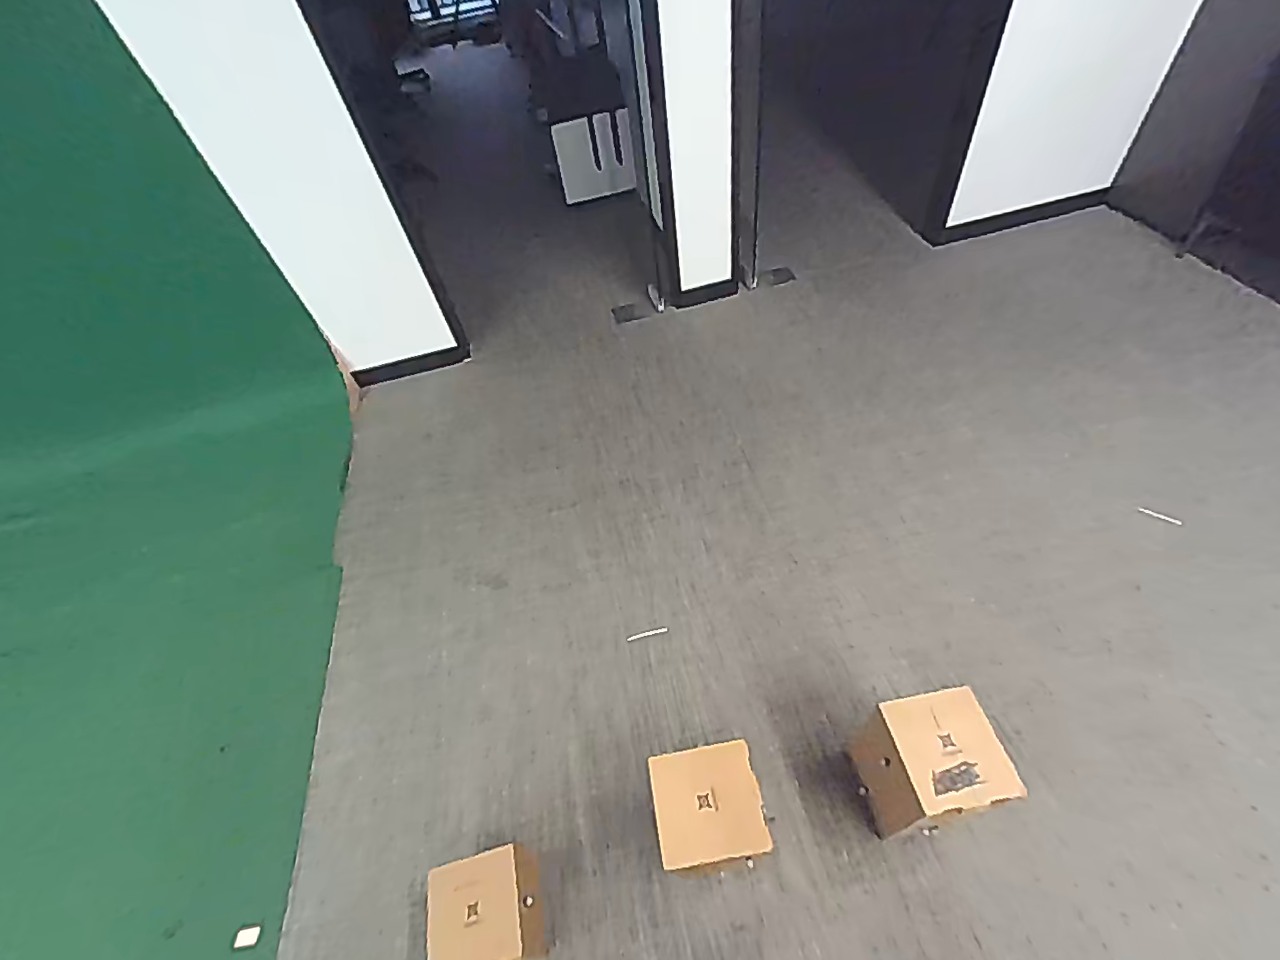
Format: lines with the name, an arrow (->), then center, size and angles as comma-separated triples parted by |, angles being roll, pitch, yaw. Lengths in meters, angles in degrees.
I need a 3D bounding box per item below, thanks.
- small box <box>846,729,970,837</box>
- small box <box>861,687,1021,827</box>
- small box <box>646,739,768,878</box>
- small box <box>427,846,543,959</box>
small box -> 0.535, 0.595, 1.080 | 0.168, 0.176, 0.179 | -12, 50, -1
small box -> 0.512, 0.493, 0.952 | 0.168, 0.176, 0.179 | -11, 48, 0
small box -> 0.116, 0.580, 0.949 | 0.179, 0.176, 0.168 | -11, 49, 0
small box -> -0.289, 0.827, 1.027 | 0.168, 0.176, 0.179 | -15, 49, -4
